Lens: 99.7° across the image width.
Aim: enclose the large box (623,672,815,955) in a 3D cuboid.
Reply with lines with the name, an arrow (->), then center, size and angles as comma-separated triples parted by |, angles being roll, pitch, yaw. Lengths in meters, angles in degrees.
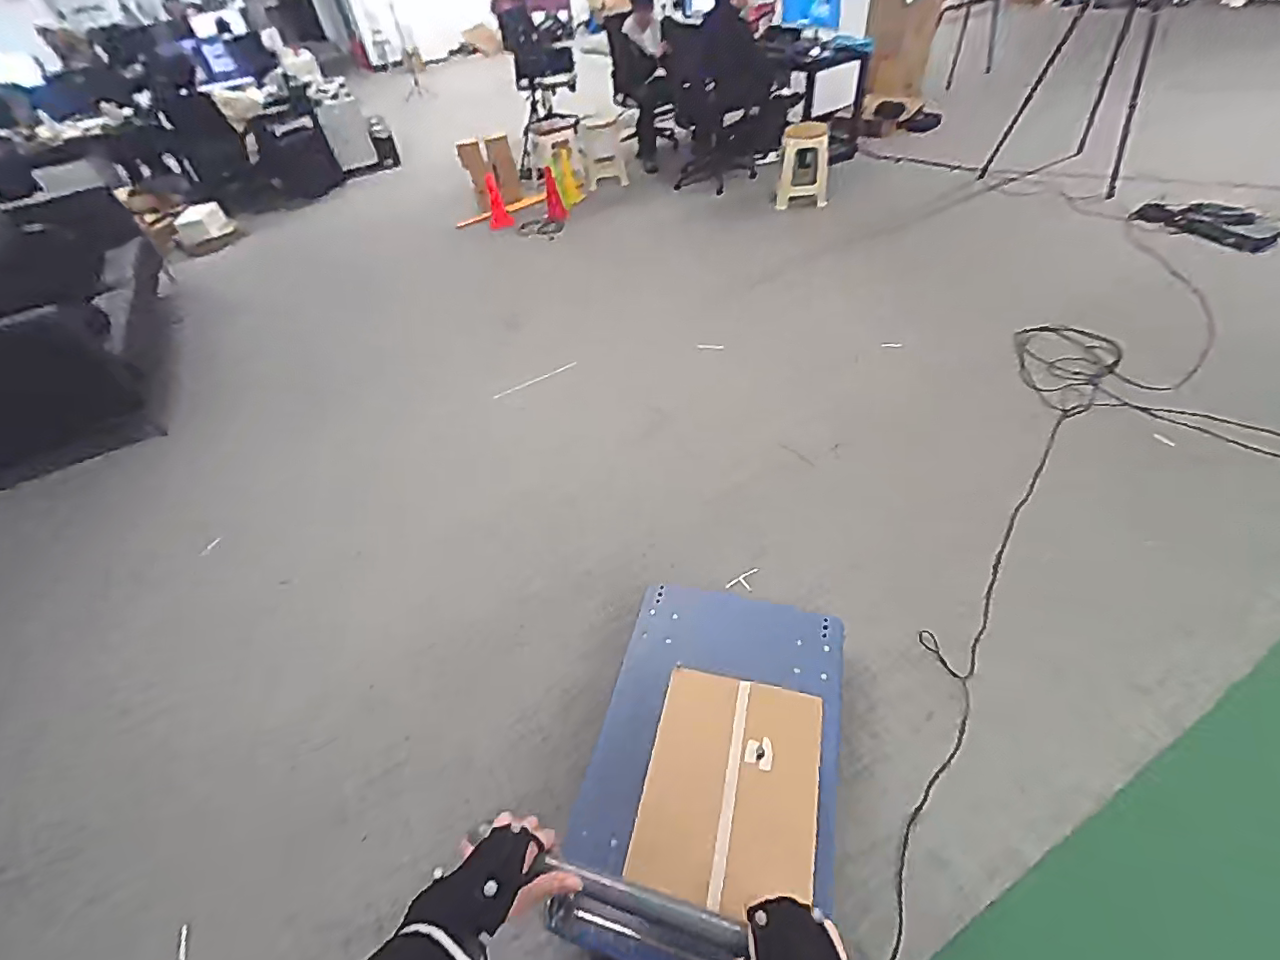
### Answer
large box -> 0.180, 0.685, 1.131 | 0.320, 0.320, 0.408 | 8, 48, 15
